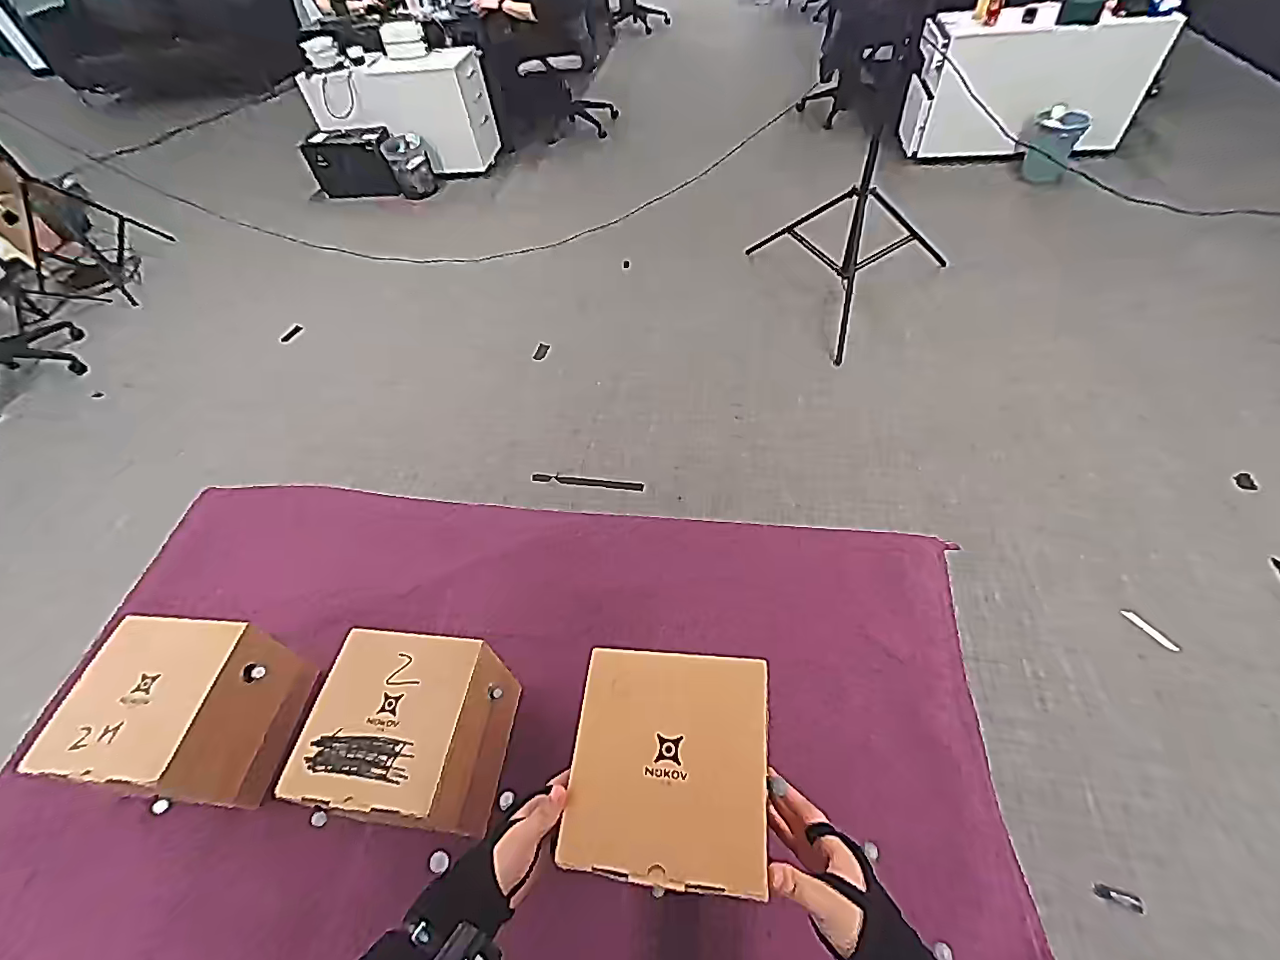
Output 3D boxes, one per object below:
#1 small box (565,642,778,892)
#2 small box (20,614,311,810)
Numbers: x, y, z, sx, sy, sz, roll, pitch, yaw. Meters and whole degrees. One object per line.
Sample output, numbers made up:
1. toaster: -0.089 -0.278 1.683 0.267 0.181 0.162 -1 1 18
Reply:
1. small box: 0.043 0.274 0.518 0.168 0.176 0.179 0 54 12
2. small box: -0.544 0.283 0.660 0.168 0.176 0.179 1 52 6
